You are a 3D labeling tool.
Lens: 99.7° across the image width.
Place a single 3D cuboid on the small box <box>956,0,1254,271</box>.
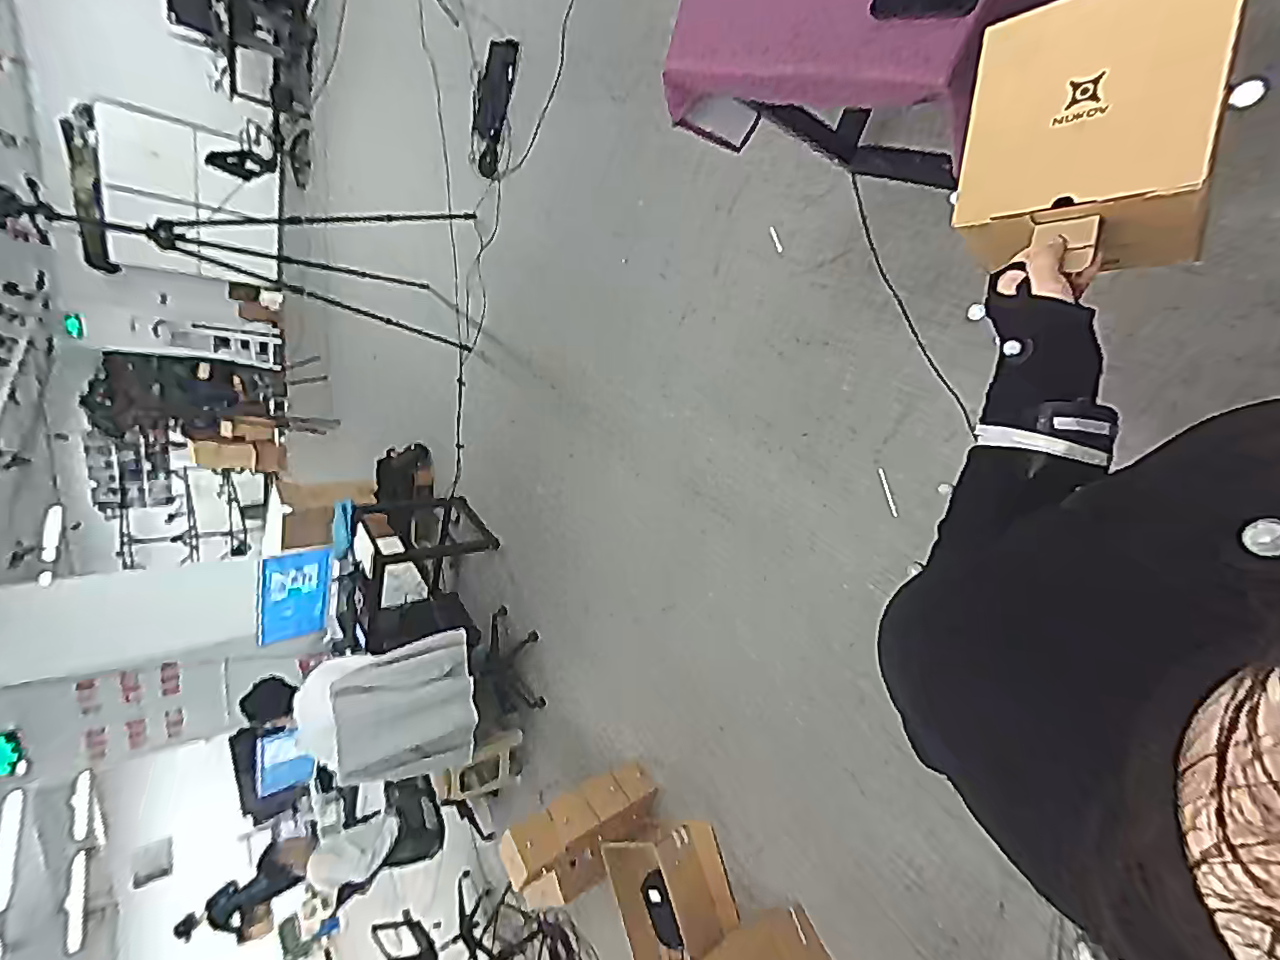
[{"bbox_3d":[0.413,-0.308,0.490,0.168,0.176,0.179,13,99,43],"label":"small box"}]
